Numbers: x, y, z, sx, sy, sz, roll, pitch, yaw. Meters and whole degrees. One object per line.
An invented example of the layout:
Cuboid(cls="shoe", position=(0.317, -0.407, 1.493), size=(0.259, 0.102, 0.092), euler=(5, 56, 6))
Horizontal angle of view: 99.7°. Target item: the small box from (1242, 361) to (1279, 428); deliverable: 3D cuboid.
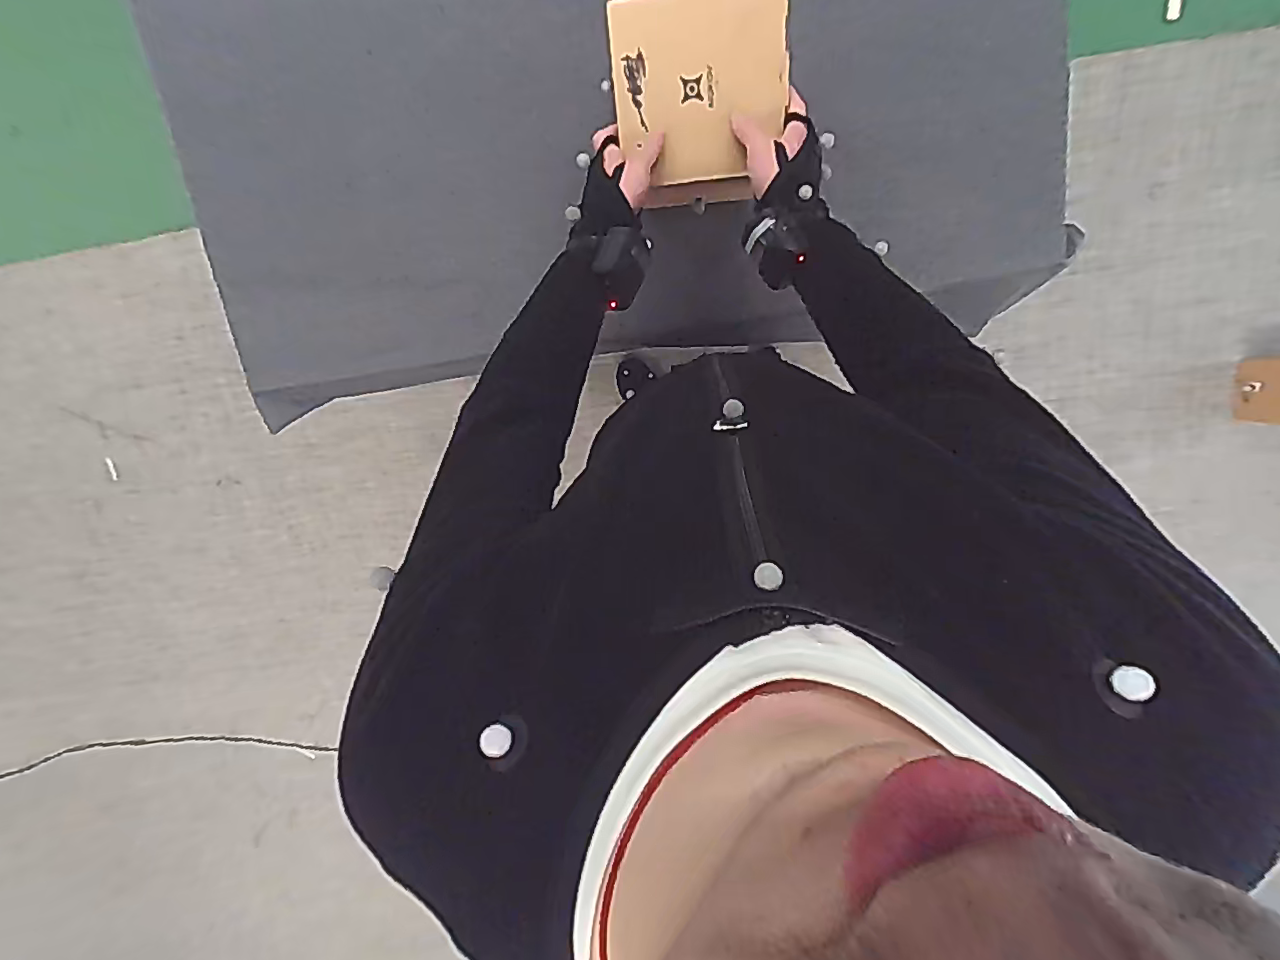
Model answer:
Cuboid(cls="small box", position=(1.713, -0.222, 1.371), size=(0.179, 0.176, 0.168), euler=(-6, 100, 4))

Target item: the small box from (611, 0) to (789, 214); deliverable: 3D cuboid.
Cuboid(cls="small box", position=(0.064, -0.413, 0.625), size=(0.179, 0.176, 0.168), euler=(-4, 110, 3))
